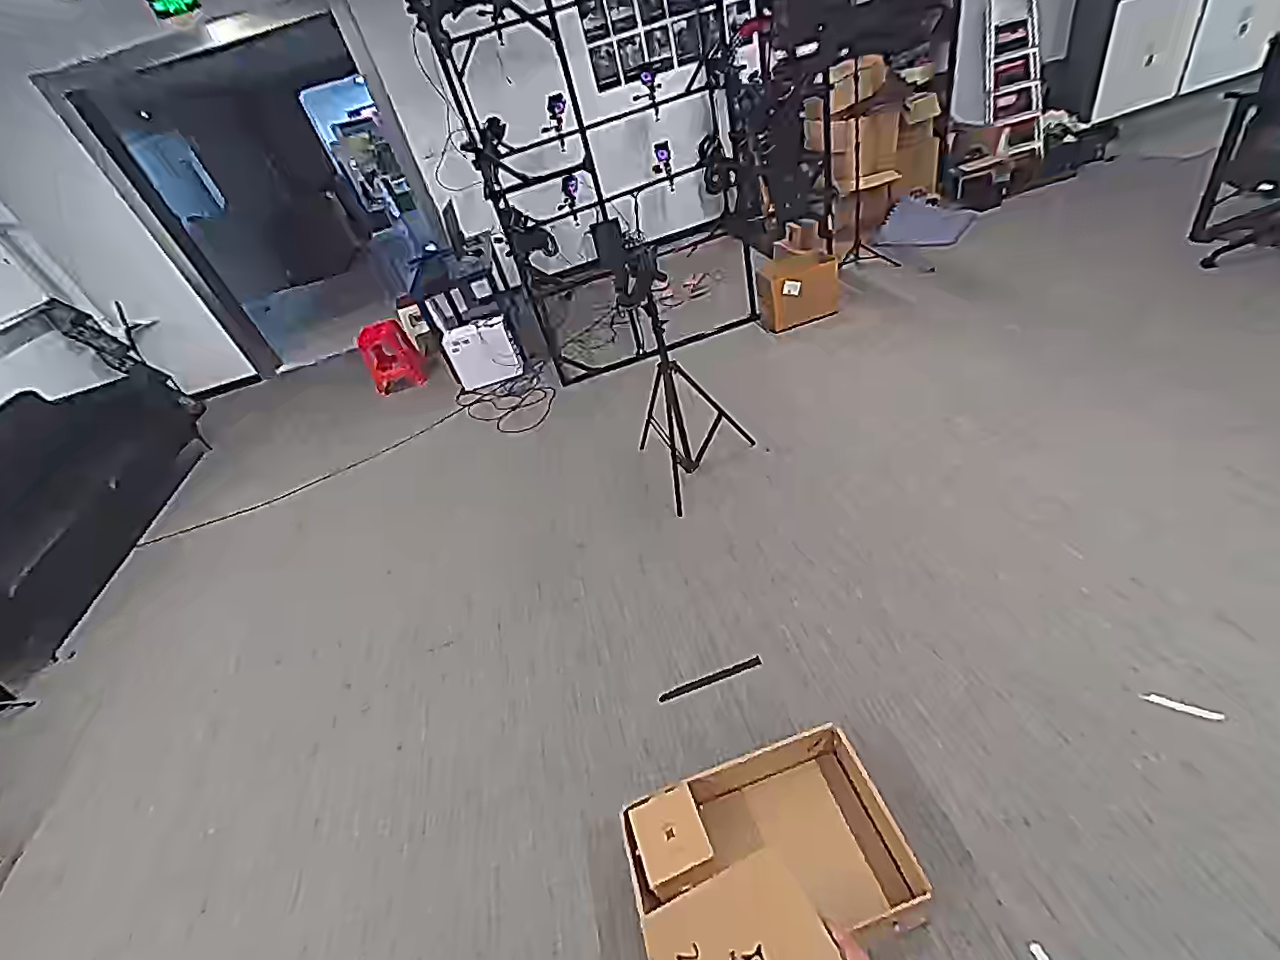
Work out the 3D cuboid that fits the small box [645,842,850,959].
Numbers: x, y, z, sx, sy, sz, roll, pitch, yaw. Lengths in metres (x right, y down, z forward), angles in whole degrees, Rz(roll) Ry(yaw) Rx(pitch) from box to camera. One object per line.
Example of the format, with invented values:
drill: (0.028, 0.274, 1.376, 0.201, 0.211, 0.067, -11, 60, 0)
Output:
small box: (0.123, 0.540, 0.578, 0.179, 0.176, 0.168, -21, 37, -13)
